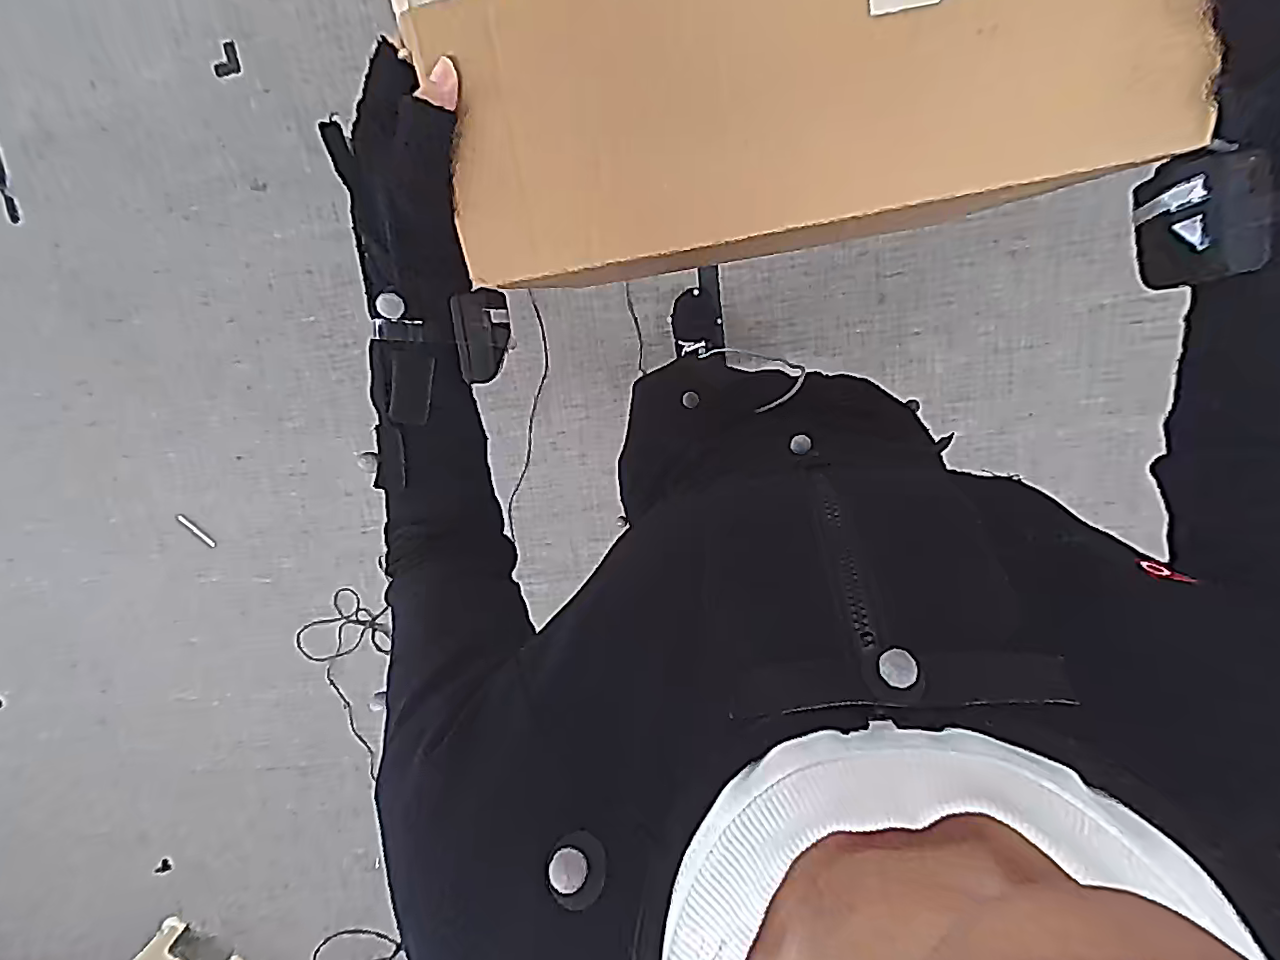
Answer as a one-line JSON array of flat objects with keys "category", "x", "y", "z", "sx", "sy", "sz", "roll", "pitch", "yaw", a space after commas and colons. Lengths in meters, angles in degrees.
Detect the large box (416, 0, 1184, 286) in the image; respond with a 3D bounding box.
[{"category": "large box", "x": 0.078, "y": -0.350, "z": 0.417, "sx": 0.408, "sy": 0.320, "sz": 0.320, "roll": -8, "pitch": 109, "yaw": 9}]
